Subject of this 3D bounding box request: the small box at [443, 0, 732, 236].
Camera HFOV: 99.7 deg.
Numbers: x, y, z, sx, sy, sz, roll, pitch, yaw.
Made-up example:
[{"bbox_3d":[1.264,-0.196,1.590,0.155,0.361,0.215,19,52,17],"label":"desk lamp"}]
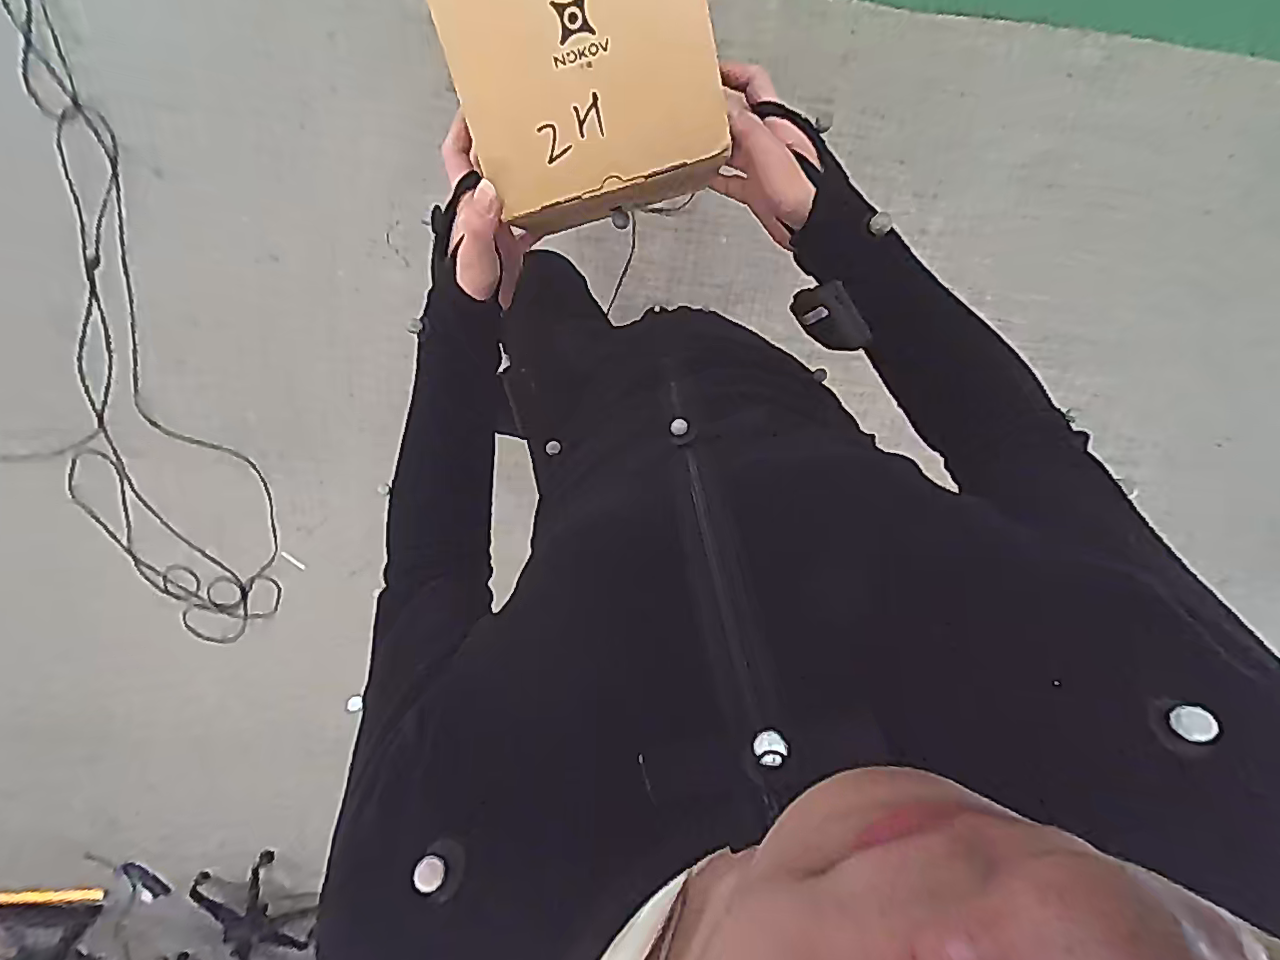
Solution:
[{"bbox_3d":[-0.035,-0.303,0.418,0.168,0.176,0.179,-12,111,5],"label":"small box"}]
